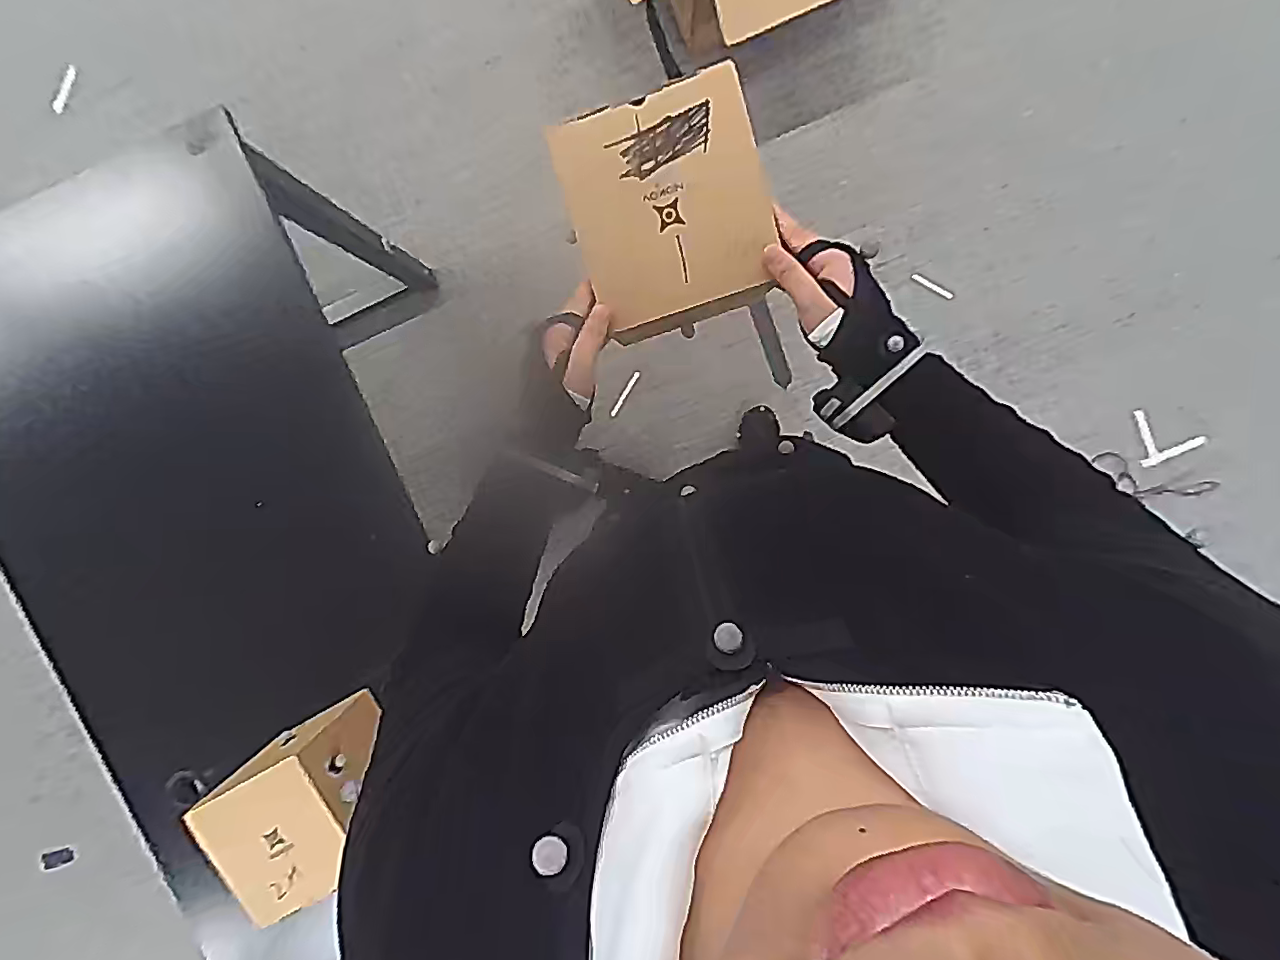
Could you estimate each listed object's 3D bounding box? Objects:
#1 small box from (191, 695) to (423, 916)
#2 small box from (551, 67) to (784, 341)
[{"bbox_3d":[-0.440,0.426,0.744,0.168,0.176,0.179,-30,95,5],"label":"small box"},{"bbox_3d":[0.027,-0.250,0.540,0.168,0.176,0.179,-17,100,6],"label":"small box"}]
